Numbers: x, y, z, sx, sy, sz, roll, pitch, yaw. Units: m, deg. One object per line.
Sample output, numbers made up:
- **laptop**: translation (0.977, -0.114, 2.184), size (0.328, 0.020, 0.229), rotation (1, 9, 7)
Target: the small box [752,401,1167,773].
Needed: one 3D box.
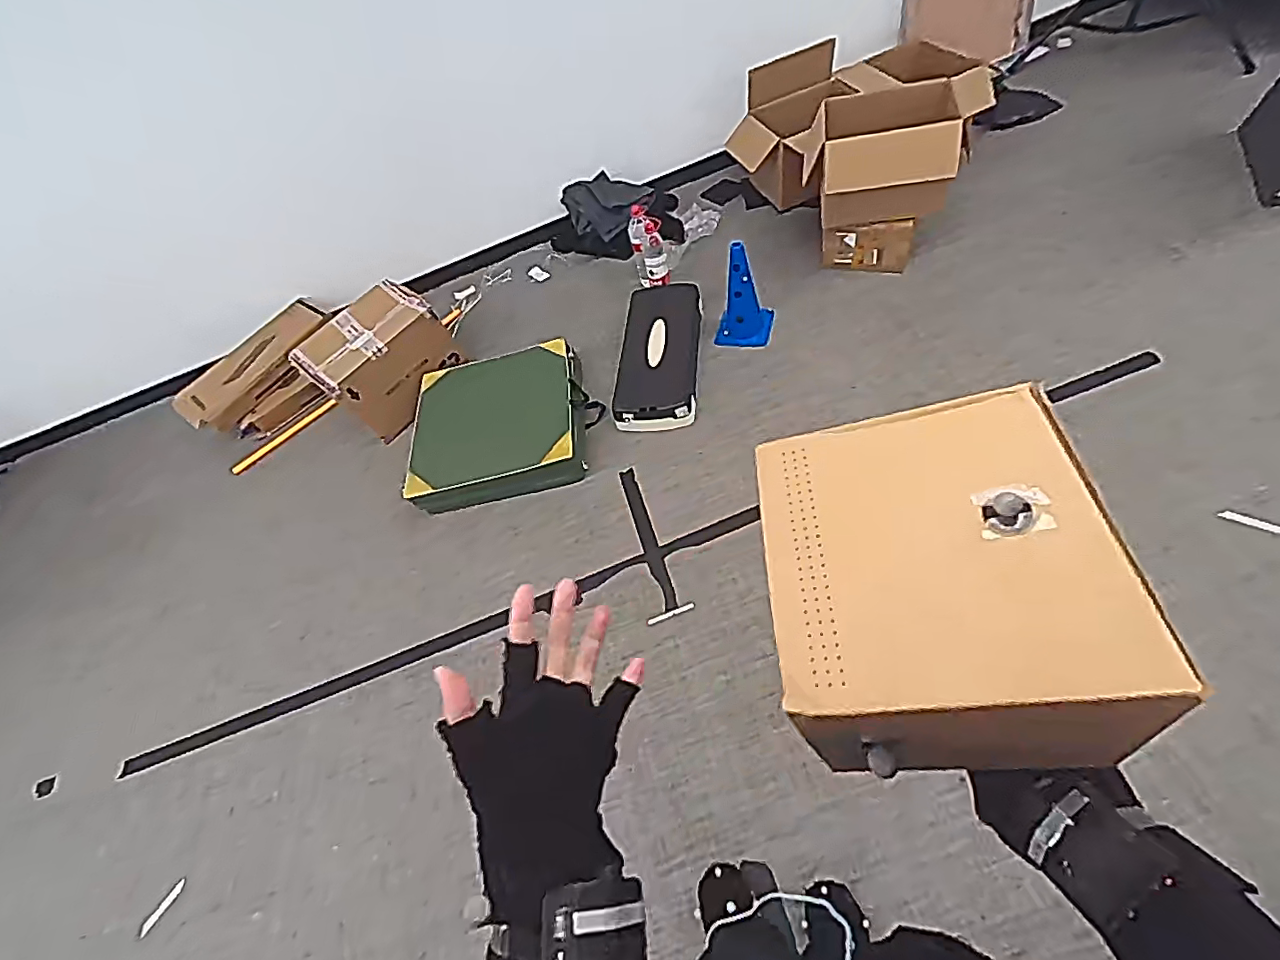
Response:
- **small box**: translation (0.177, 0.081, 0.357), size (0.176, 0.168, 0.179), rotation (-14, 50, 22)
